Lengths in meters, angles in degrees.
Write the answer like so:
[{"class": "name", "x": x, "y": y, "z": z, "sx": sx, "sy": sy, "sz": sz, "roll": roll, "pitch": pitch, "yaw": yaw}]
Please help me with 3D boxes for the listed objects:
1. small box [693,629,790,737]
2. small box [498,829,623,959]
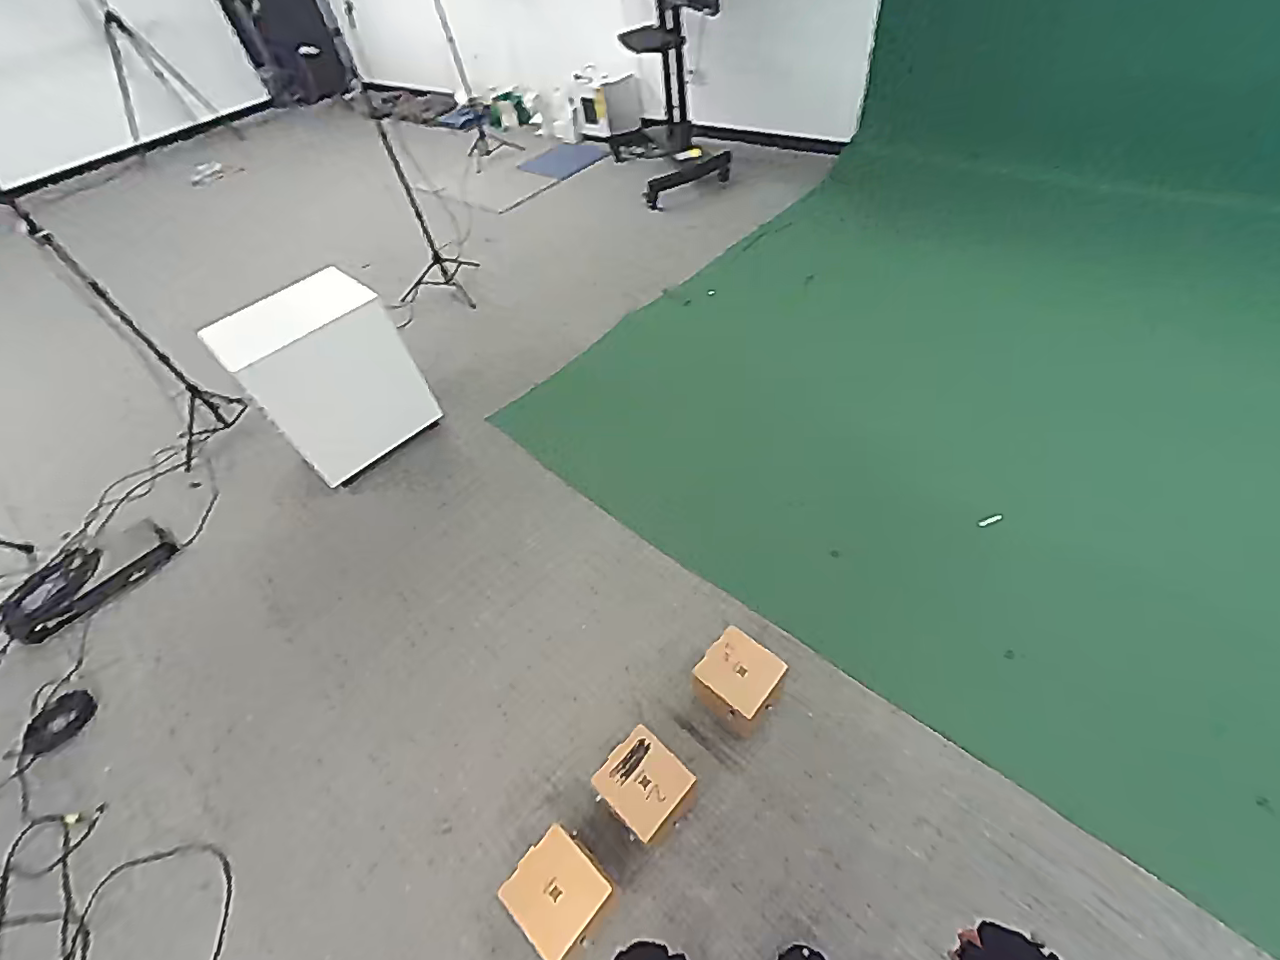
[{"class": "small box", "x": 0.253, "y": 0.516, "z": 1.358, "sx": 0.179, "sy": 0.176, "sz": 0.168, "roll": 31, "pitch": 60, "yaw": 31}, {"class": "small box", "x": -0.155, "y": 0.867, "z": 1.118, "sx": 0.179, "sy": 0.176, "sz": 0.168, "roll": 31, "pitch": 60, "yaw": 31}]
